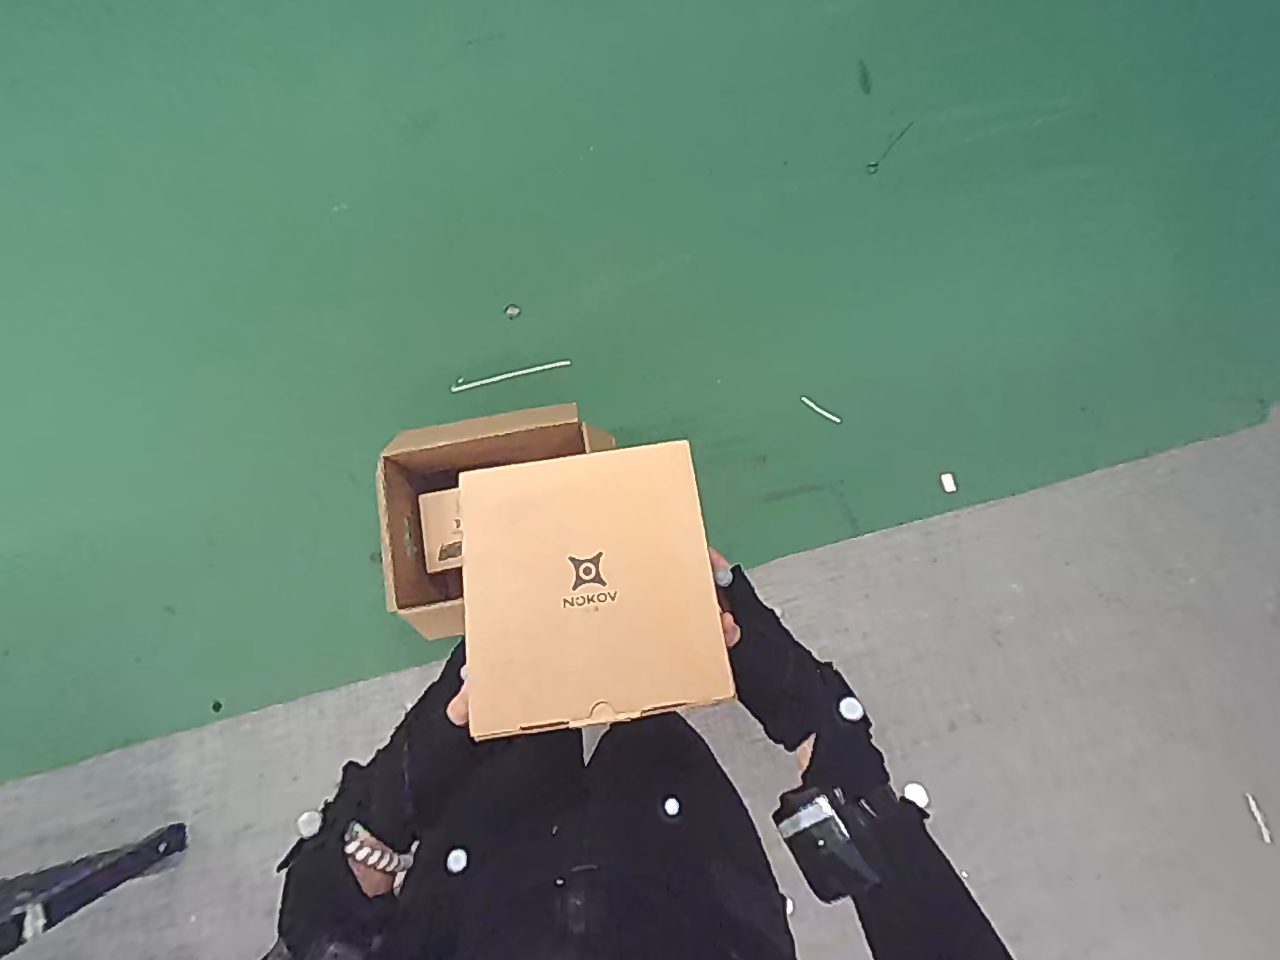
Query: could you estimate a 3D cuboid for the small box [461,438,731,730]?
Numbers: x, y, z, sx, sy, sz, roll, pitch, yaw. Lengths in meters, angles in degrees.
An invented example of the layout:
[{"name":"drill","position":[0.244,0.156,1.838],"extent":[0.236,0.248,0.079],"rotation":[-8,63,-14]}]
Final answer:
[{"name":"small box","position":[-0.034,0.086,0.436],"extent":[0.168,0.176,0.179],"rotation":[-9,73,-1]}]
